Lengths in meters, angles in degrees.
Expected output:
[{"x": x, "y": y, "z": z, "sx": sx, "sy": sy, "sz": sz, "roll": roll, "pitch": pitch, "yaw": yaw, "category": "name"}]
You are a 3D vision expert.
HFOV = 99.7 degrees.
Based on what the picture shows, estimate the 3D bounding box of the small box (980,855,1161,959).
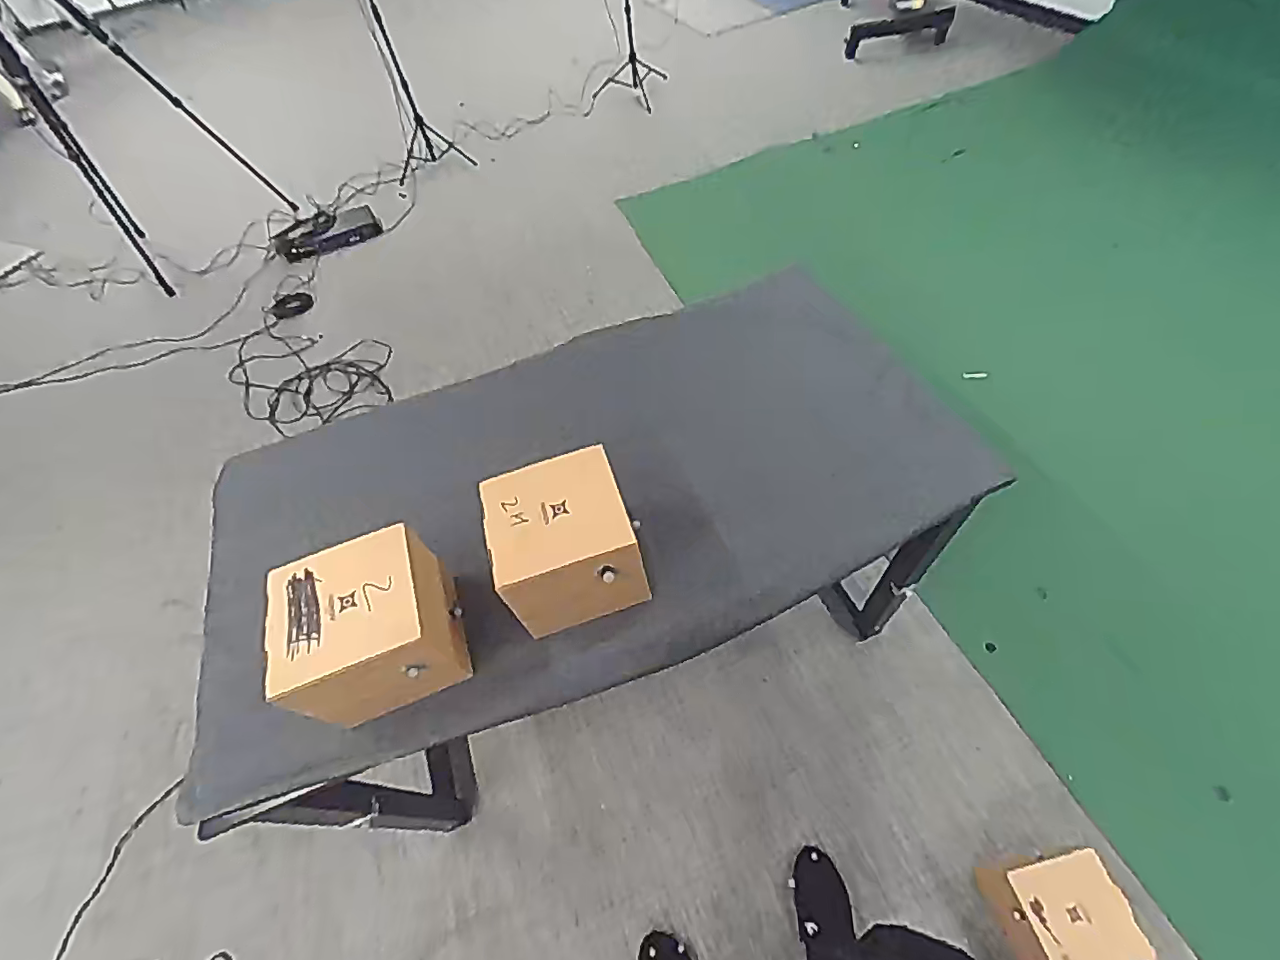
[{"x": 0.787, "y": 0.818, "z": 1.009, "sx": 0.179, "sy": 0.176, "sz": 0.168, "roll": -14, "pitch": 56, "yaw": -2, "category": "small box"}]

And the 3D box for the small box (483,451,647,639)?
[{"x": -0.095, "y": 0.093, "z": 0.740, "sx": 0.179, "sy": 0.176, "sz": 0.168, "roll": -18, "pitch": 53, "yaw": -3, "category": "small box"}]
